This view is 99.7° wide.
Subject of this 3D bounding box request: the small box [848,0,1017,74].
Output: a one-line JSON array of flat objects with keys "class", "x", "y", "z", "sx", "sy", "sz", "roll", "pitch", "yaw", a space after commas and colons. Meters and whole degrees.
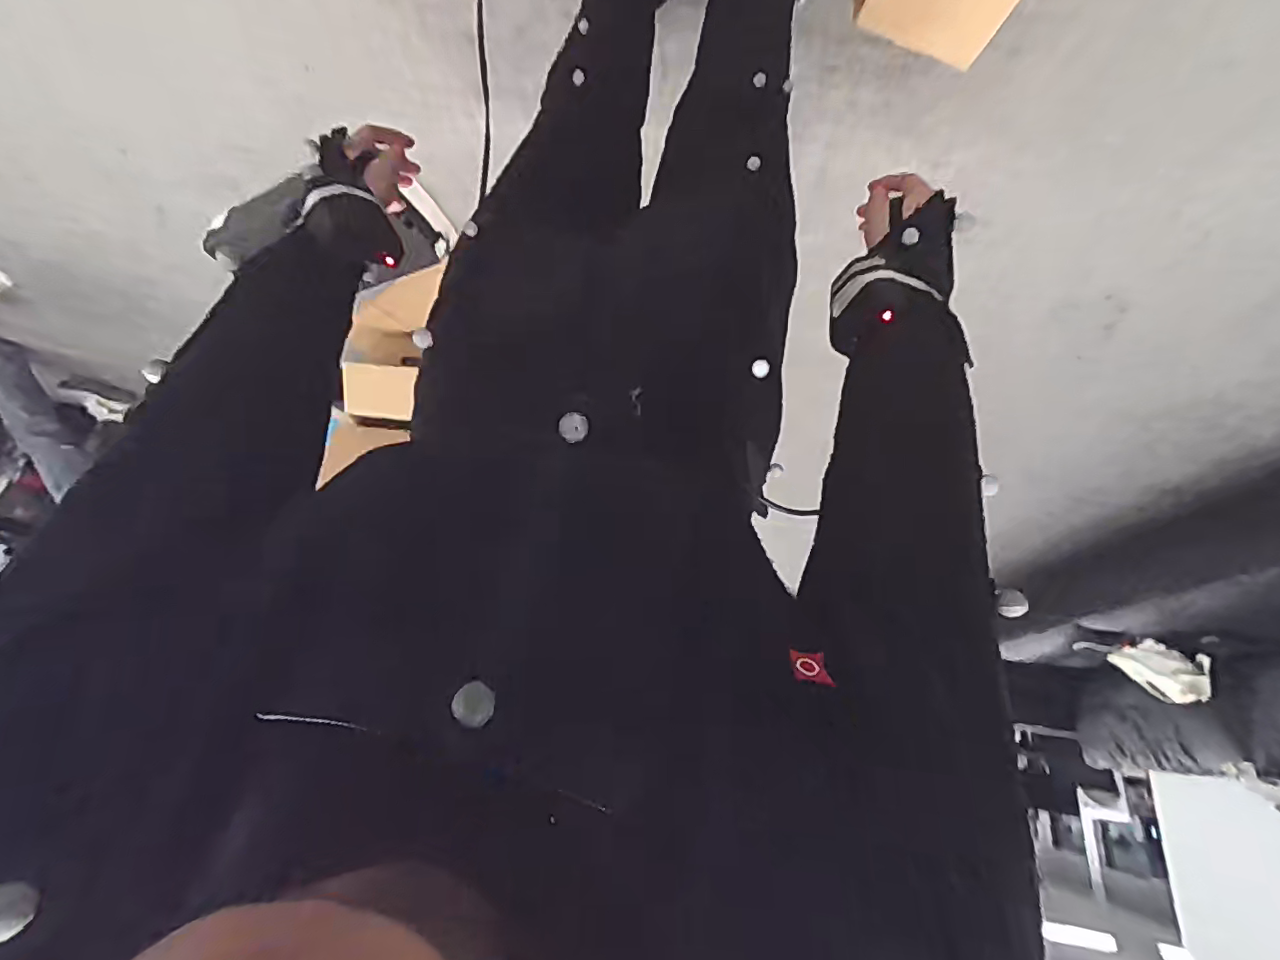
[{"class": "small box", "x": 0.389, "y": -0.677, "z": 0.686, "sx": 0.179, "sy": 0.176, "sz": 0.168, "roll": 14, "pitch": 157, "yaw": -9}]
